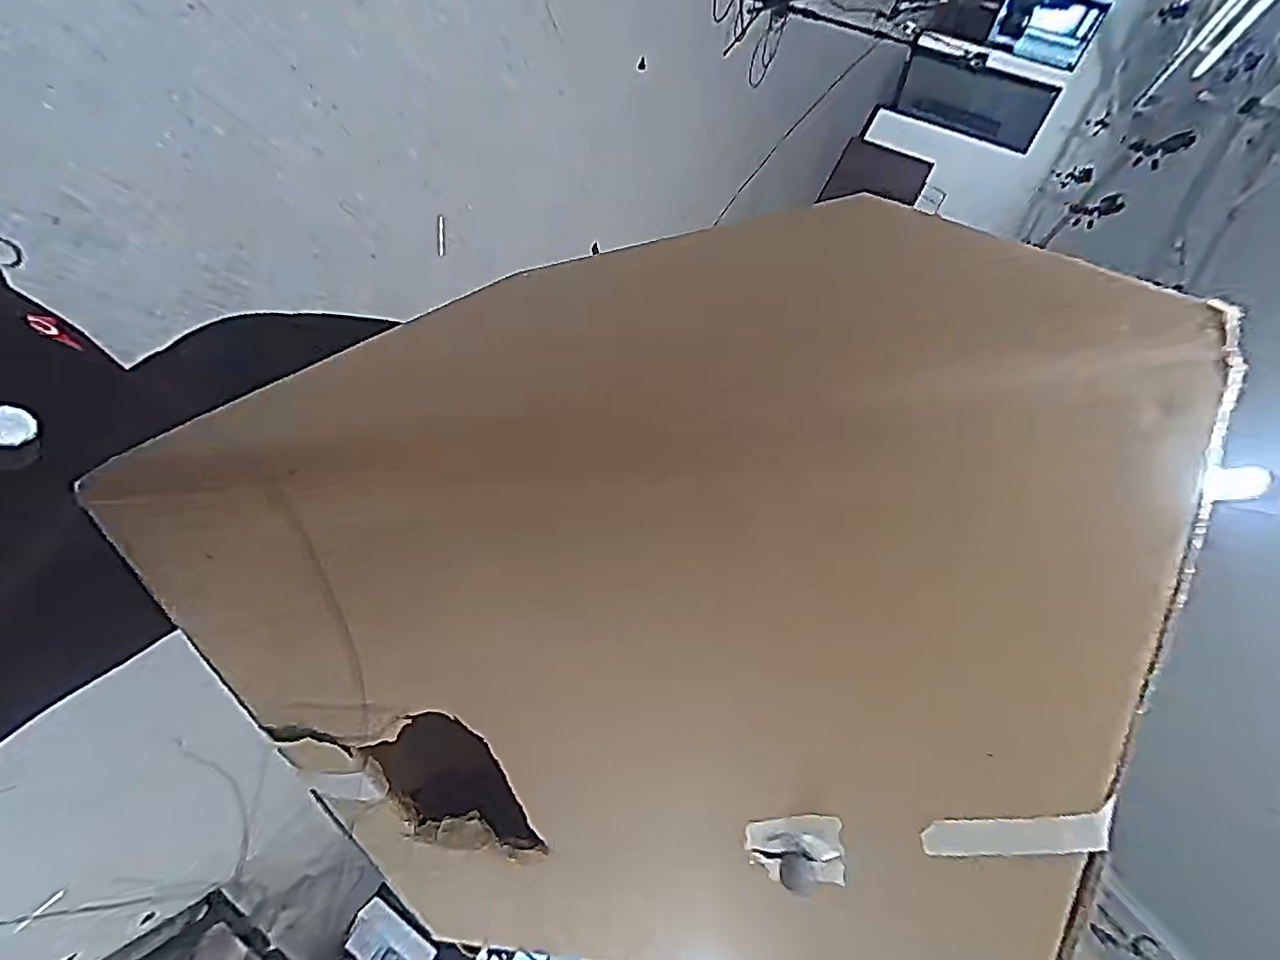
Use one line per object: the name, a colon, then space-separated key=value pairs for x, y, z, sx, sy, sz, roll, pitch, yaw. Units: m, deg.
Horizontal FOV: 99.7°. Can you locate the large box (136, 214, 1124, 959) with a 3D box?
large box: x=0.032 y=0.019 z=0.383 sx=0.408 sy=0.320 sz=0.320 roll=-68 pitch=150 yaw=-58
